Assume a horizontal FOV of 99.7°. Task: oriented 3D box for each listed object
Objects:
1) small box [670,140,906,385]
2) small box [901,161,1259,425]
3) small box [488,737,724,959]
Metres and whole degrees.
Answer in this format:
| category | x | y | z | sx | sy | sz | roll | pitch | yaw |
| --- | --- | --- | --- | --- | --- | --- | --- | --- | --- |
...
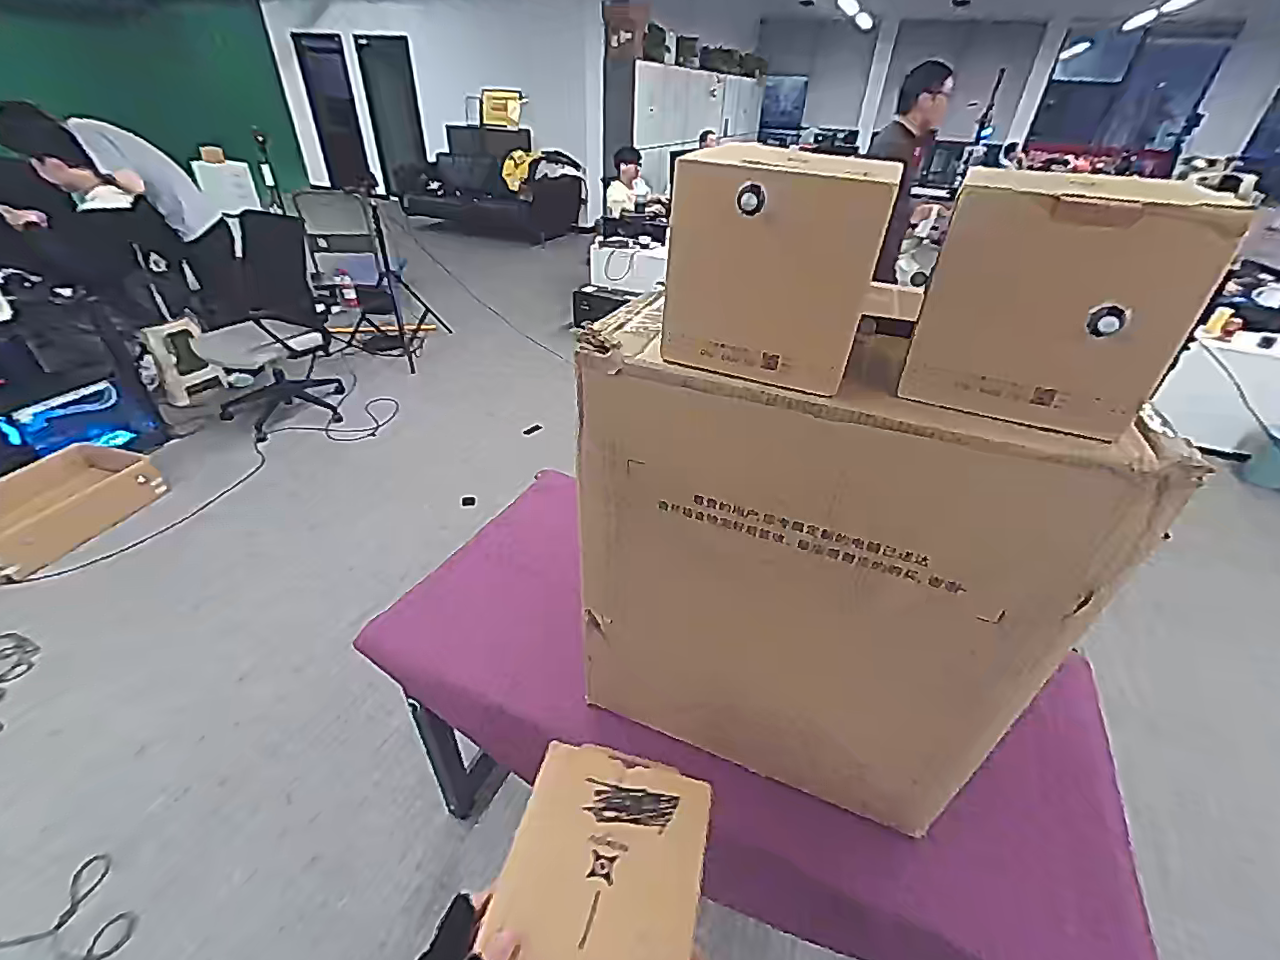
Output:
| category | x | y | z | sx | sy | sz | roll | pitch | yaw |
| --- | --- | --- | --- | --- | --- | --- | --- | --- | --- |
| small box | 0.133 | -0.208 | 0.502 | 0.168 | 0.176 | 0.179 | 16 | 36 | 17 |
| small box | 0.337 | -0.165 | 0.459 | 0.168 | 0.176 | 0.179 | 18 | 37 | 21 |
| small box | -0.025 | 0.384 | 0.502 | 0.168 | 0.176 | 0.179 | 11 | 33 | 9 |
